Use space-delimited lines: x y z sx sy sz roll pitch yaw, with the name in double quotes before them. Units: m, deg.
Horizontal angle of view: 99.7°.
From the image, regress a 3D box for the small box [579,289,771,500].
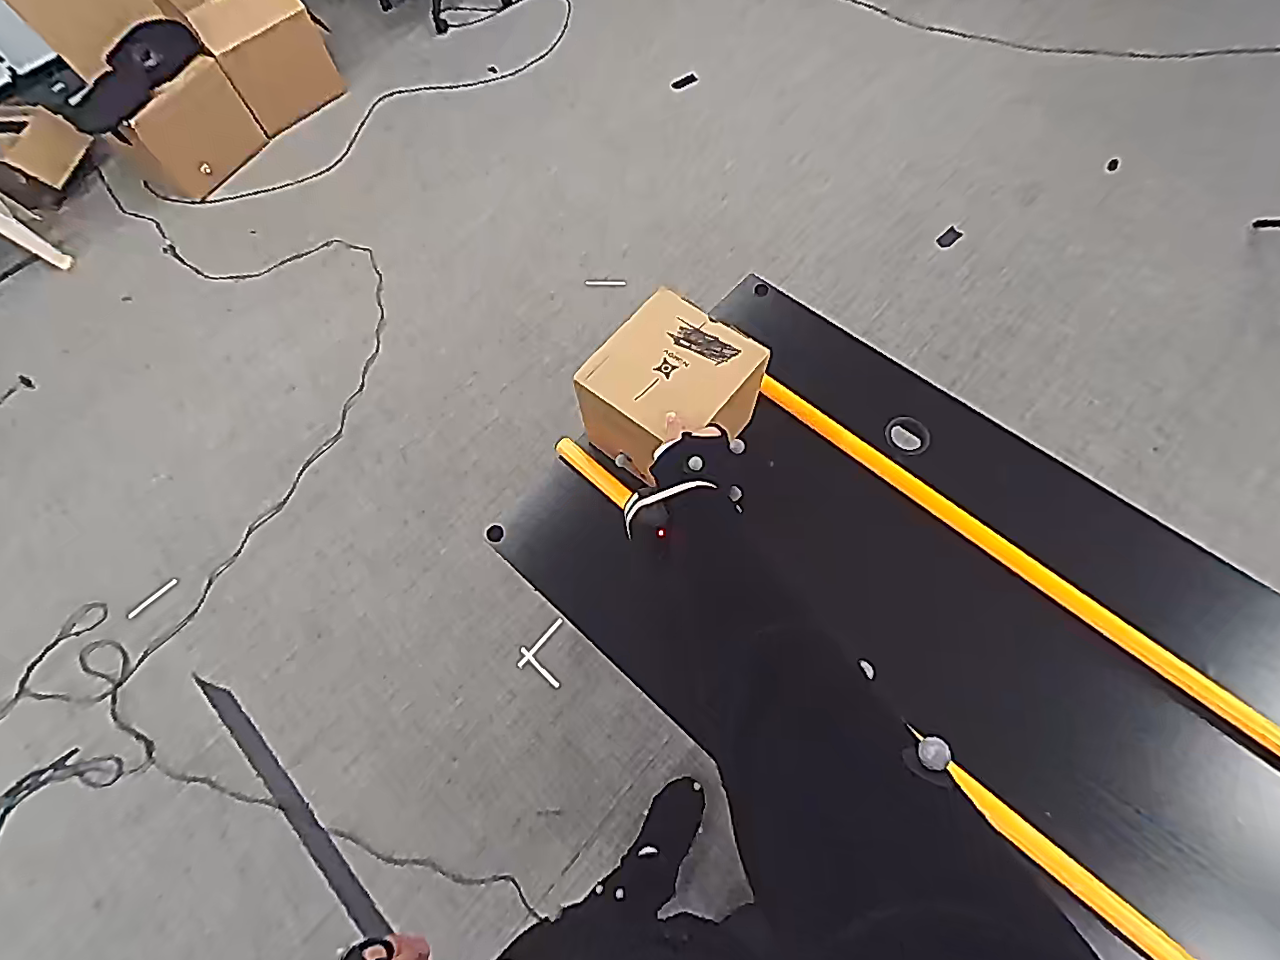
"small box" 0.044 -0.105 0.713 0.168 0.176 0.179 36 74 16
